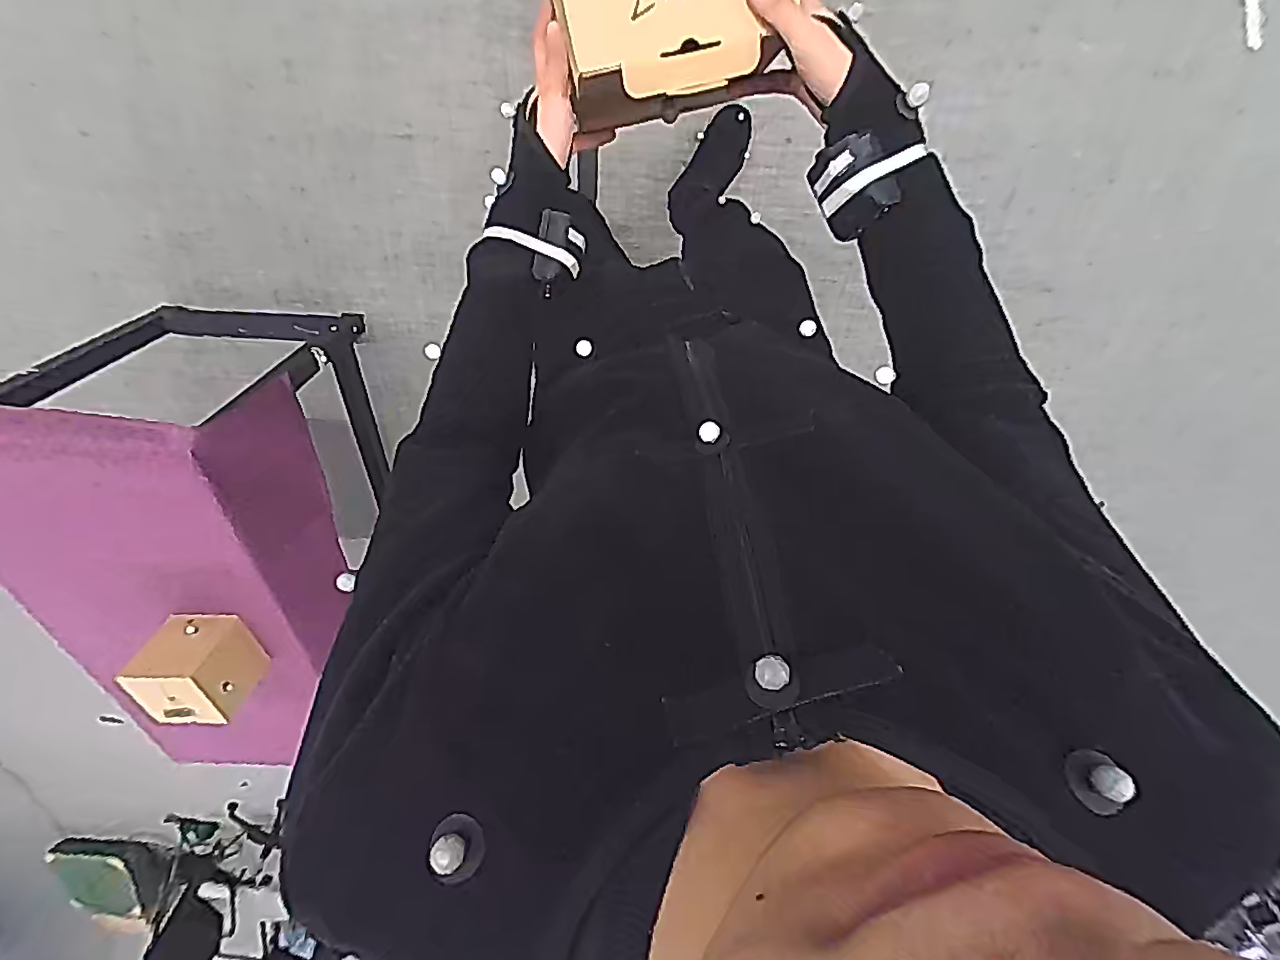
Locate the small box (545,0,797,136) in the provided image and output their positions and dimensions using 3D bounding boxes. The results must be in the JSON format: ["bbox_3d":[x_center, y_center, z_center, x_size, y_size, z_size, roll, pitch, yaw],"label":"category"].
[{"bbox_3d":[0.006,-0.405,0.424,0.168,0.176,0.179,-14,111,0],"label":"small box"}]

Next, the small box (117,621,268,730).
[{"bbox_3d":[-0.995,0.442,1.226,0.168,0.176,0.179,-1,126,2],"label":"small box"}]
